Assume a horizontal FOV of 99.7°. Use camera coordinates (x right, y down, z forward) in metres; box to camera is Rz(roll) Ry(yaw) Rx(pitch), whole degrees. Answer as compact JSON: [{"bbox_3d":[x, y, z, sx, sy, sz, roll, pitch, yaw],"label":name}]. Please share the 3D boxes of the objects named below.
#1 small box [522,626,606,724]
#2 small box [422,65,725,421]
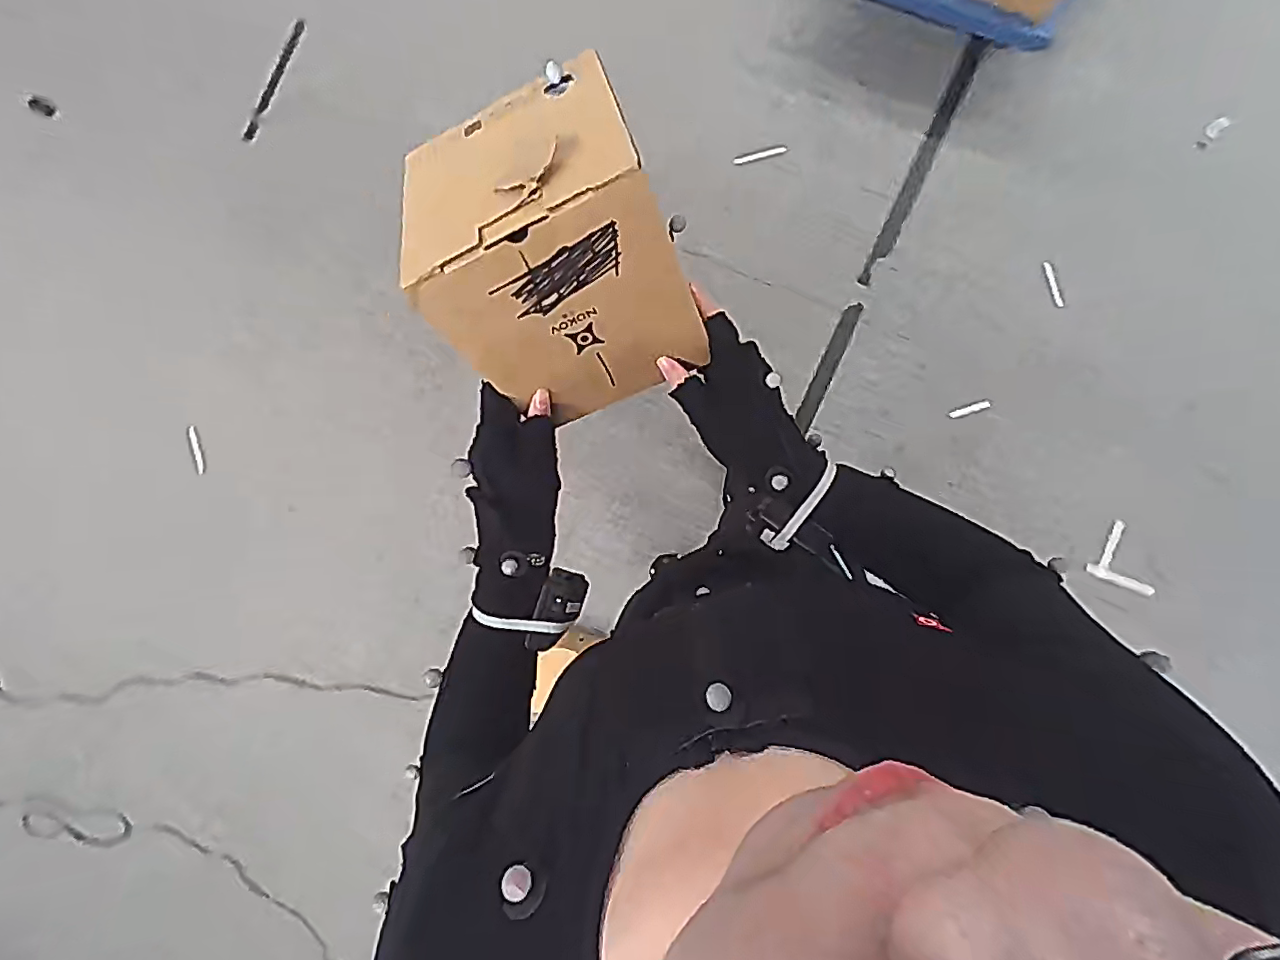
[{"bbox_3d":[-0.195,0.512,1.445,0.168,0.176,0.179,15,90,4],"label":"small box"},{"bbox_3d":[-0.049,-0.183,0.429,0.168,0.179,0.176,-20,58,12],"label":"small box"}]
